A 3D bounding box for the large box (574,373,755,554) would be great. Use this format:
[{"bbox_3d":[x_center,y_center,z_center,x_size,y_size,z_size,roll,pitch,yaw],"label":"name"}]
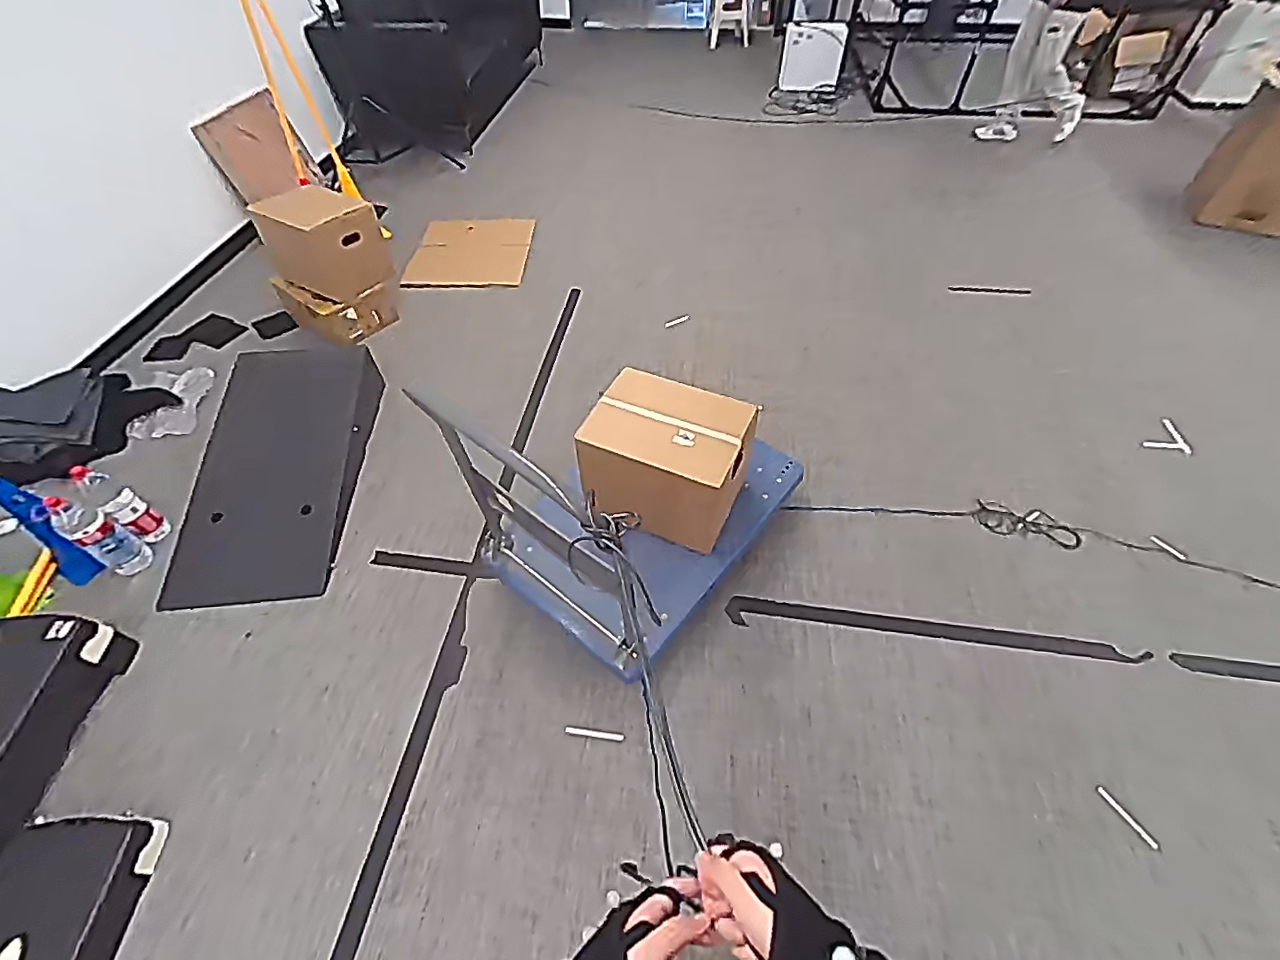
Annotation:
[{"bbox_3d":[0.068,-0.048,1.533,0.408,0.320,0.320,20,54,15],"label":"large box"}]
